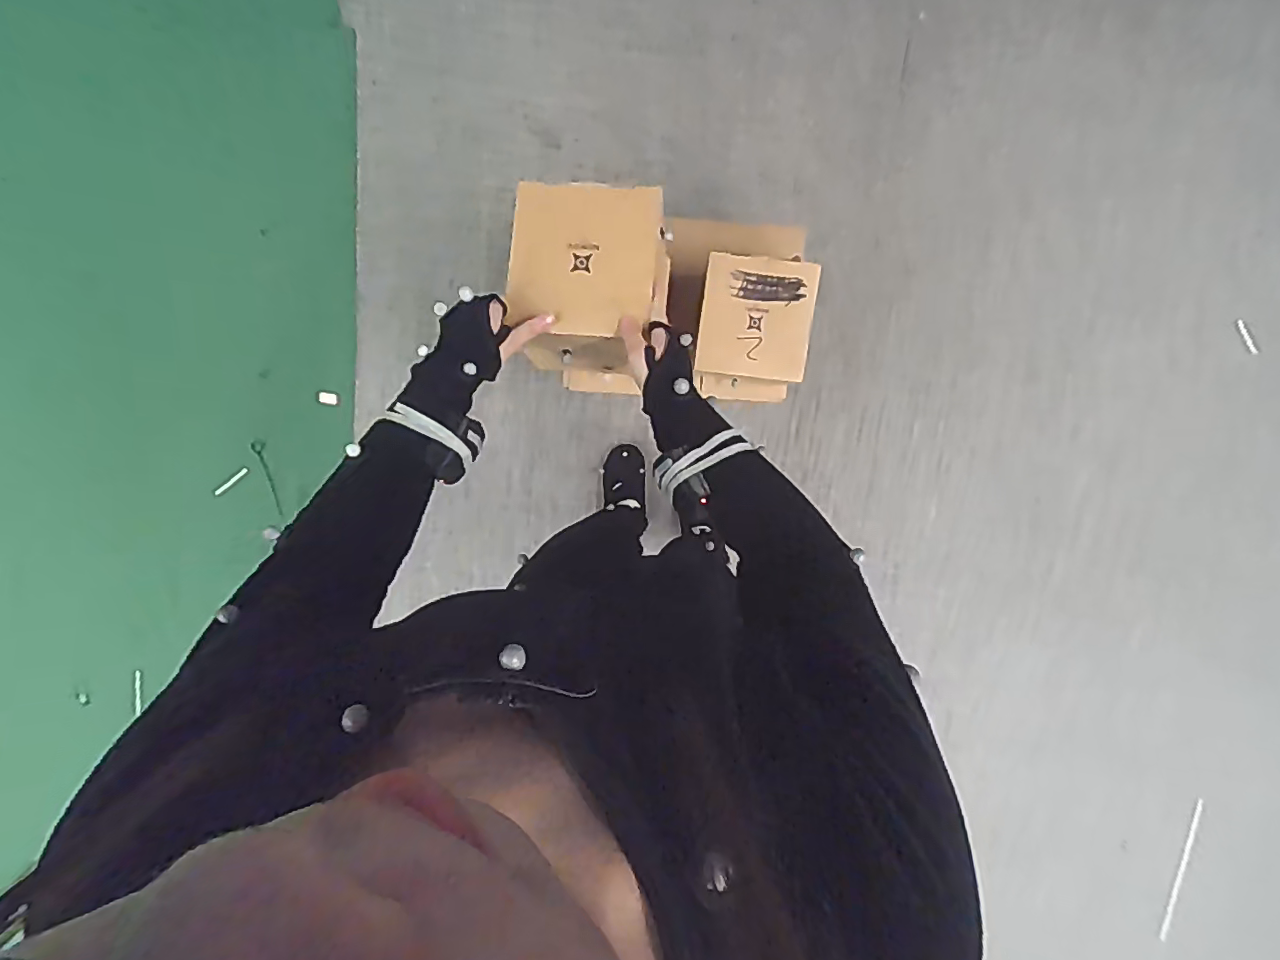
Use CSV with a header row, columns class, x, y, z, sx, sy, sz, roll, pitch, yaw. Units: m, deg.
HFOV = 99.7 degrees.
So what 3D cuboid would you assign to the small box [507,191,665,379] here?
class,x,y,z,sx,sy,sz,roll,pitch,yaw
small box,-0.058,-0.236,0.694,0.168,0.176,0.179,5,86,4
